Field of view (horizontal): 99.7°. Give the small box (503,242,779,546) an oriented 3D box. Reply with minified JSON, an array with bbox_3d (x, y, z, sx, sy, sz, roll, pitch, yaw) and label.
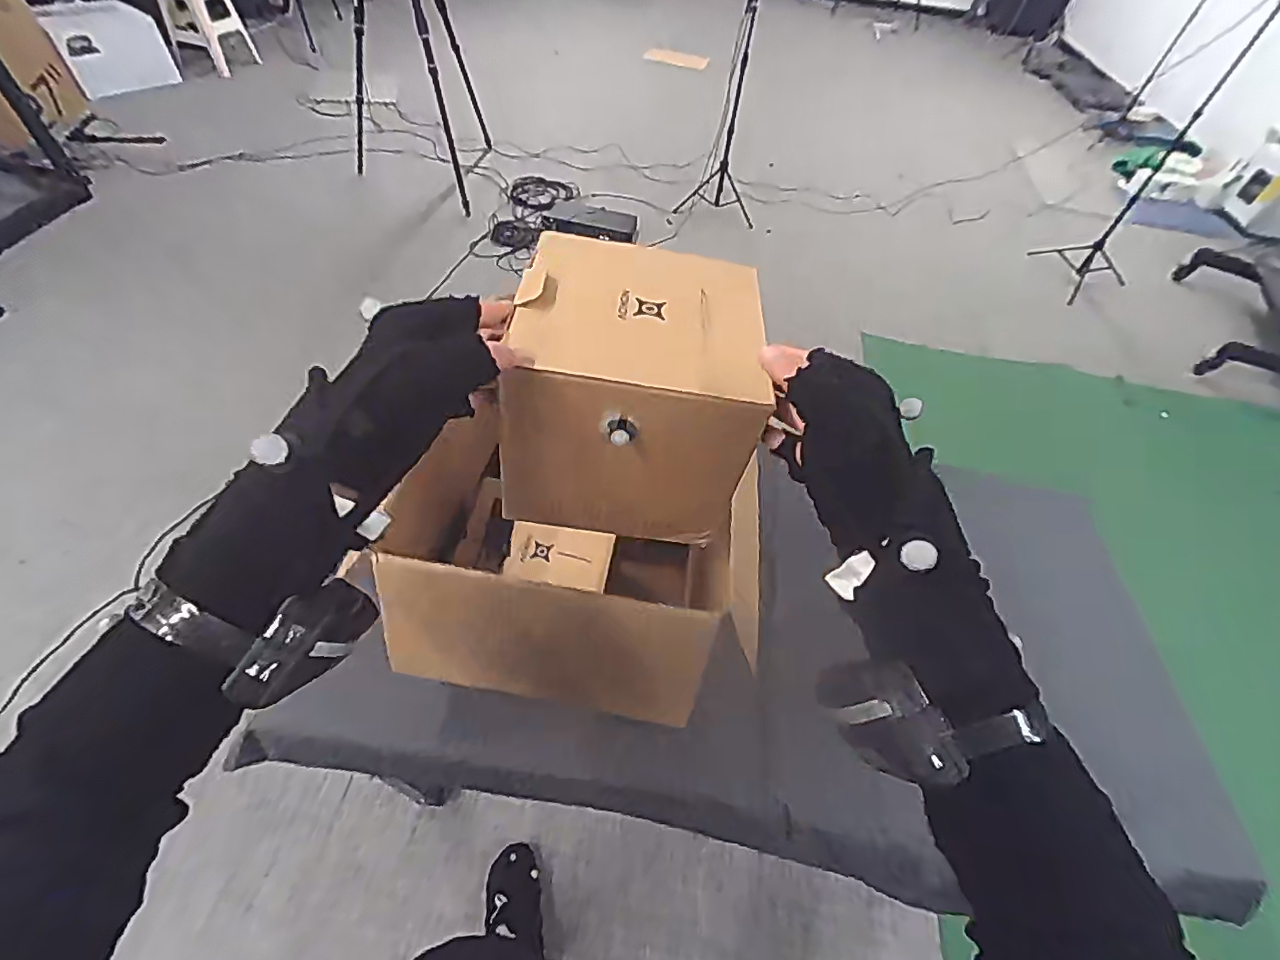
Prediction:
[{"bbox_3d":[-0.005,-0.062,0.442,0.179,0.176,0.168,9,51,-5],"label":"small box"}]
